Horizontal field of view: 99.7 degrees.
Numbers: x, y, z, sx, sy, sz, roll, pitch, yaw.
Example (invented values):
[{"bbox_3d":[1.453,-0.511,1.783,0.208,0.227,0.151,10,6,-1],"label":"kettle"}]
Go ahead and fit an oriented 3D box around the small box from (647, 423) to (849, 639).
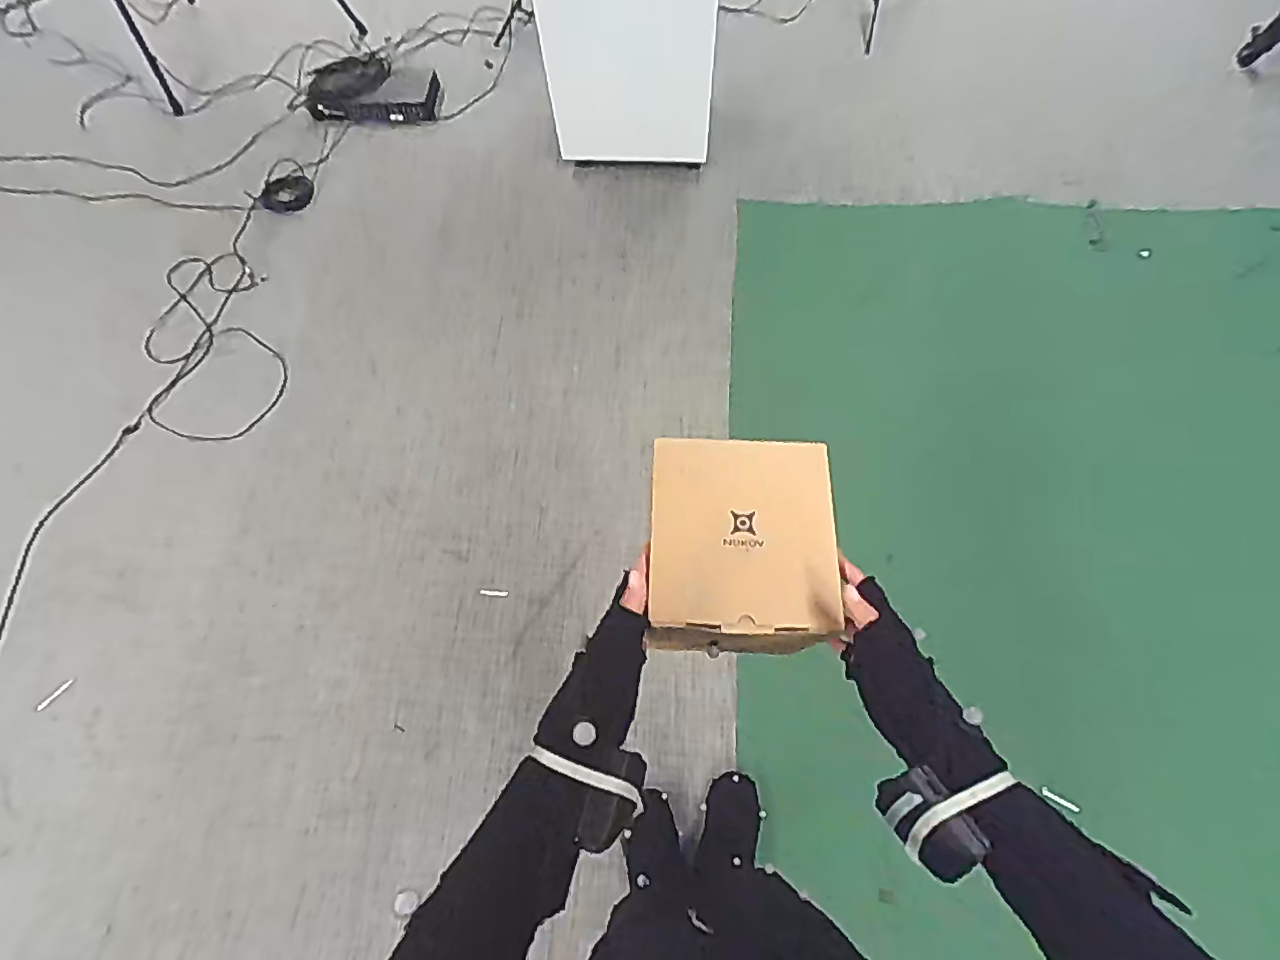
[{"bbox_3d":[0.093,0.060,0.551,0.168,0.176,0.179,2,68,0],"label":"small box"}]
